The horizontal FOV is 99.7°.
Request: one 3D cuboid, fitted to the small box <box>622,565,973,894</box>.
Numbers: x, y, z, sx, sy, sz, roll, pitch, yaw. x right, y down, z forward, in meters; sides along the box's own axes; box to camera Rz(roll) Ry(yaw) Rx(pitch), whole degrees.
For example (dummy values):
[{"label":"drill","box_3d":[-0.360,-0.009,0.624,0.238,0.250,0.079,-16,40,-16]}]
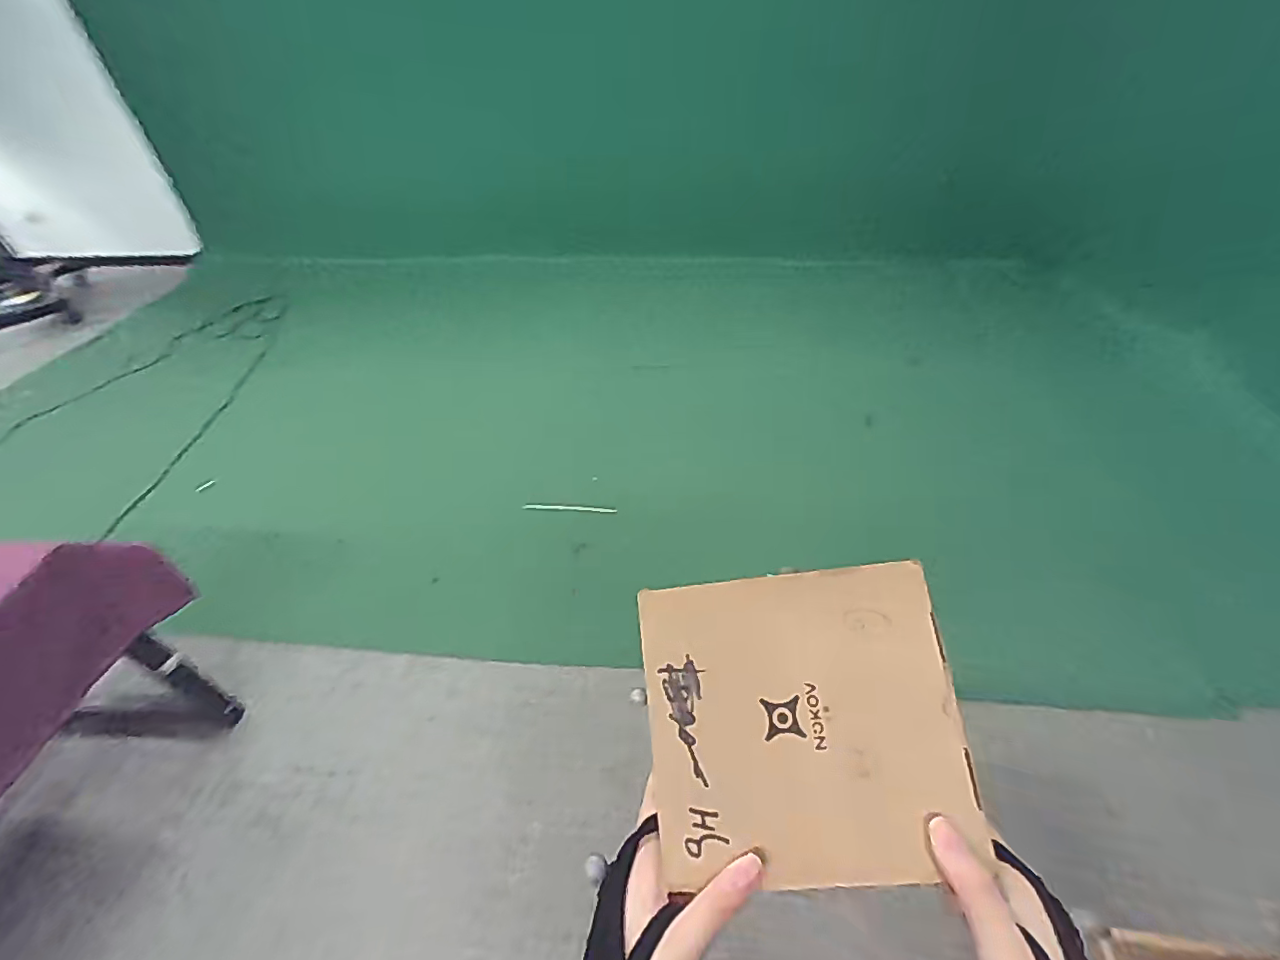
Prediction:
[{"label":"small box","box_3d":[0.092,0.162,0.387,0.179,0.176,0.168,-9,71,6]}]
